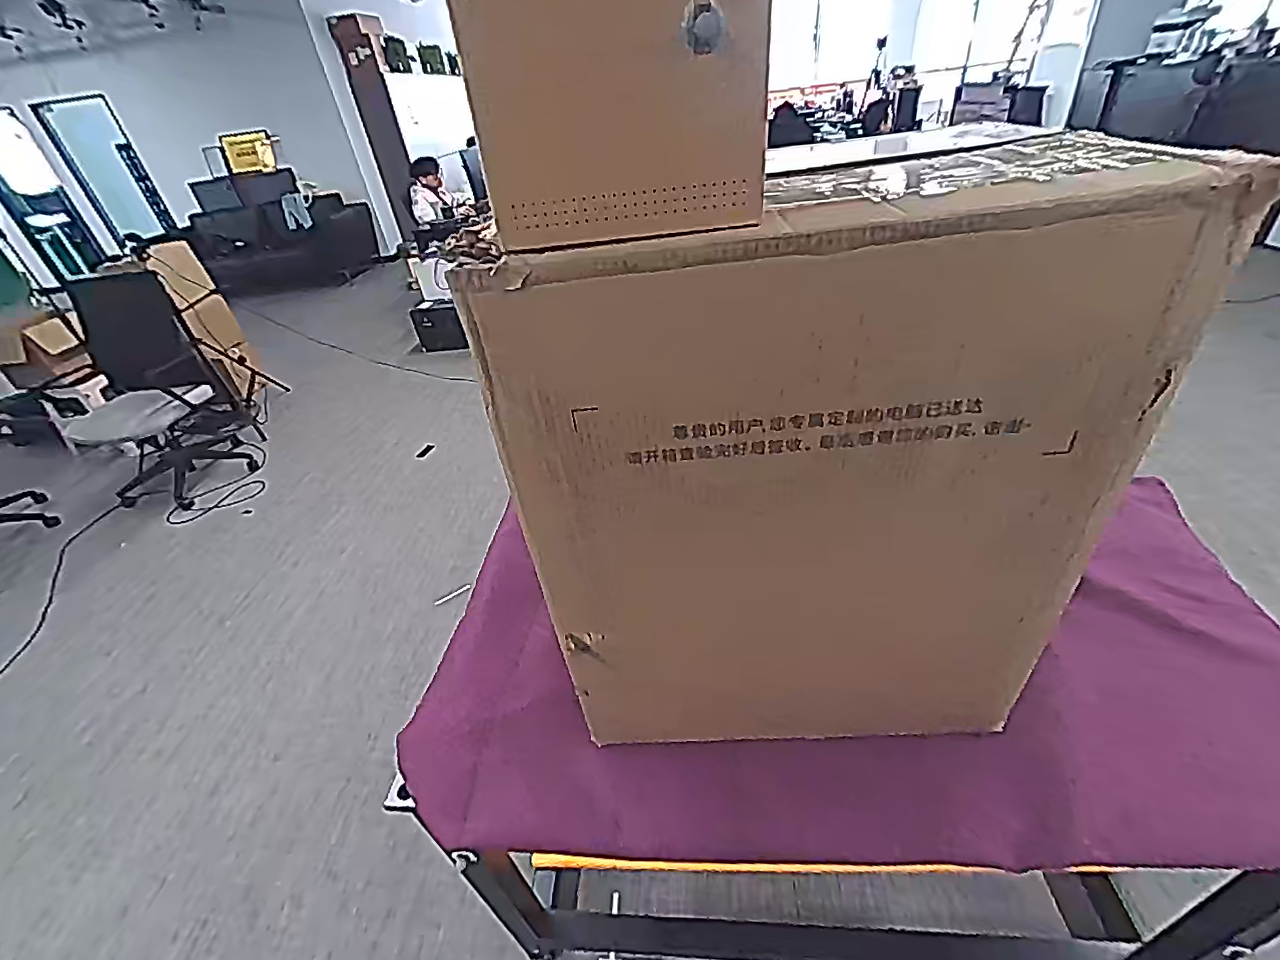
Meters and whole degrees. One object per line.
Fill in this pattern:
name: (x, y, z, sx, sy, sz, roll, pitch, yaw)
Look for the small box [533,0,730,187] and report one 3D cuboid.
small box: (0.005, -0.404, 0.548, 0.168, 0.176, 0.179, -1, 36, 7)
